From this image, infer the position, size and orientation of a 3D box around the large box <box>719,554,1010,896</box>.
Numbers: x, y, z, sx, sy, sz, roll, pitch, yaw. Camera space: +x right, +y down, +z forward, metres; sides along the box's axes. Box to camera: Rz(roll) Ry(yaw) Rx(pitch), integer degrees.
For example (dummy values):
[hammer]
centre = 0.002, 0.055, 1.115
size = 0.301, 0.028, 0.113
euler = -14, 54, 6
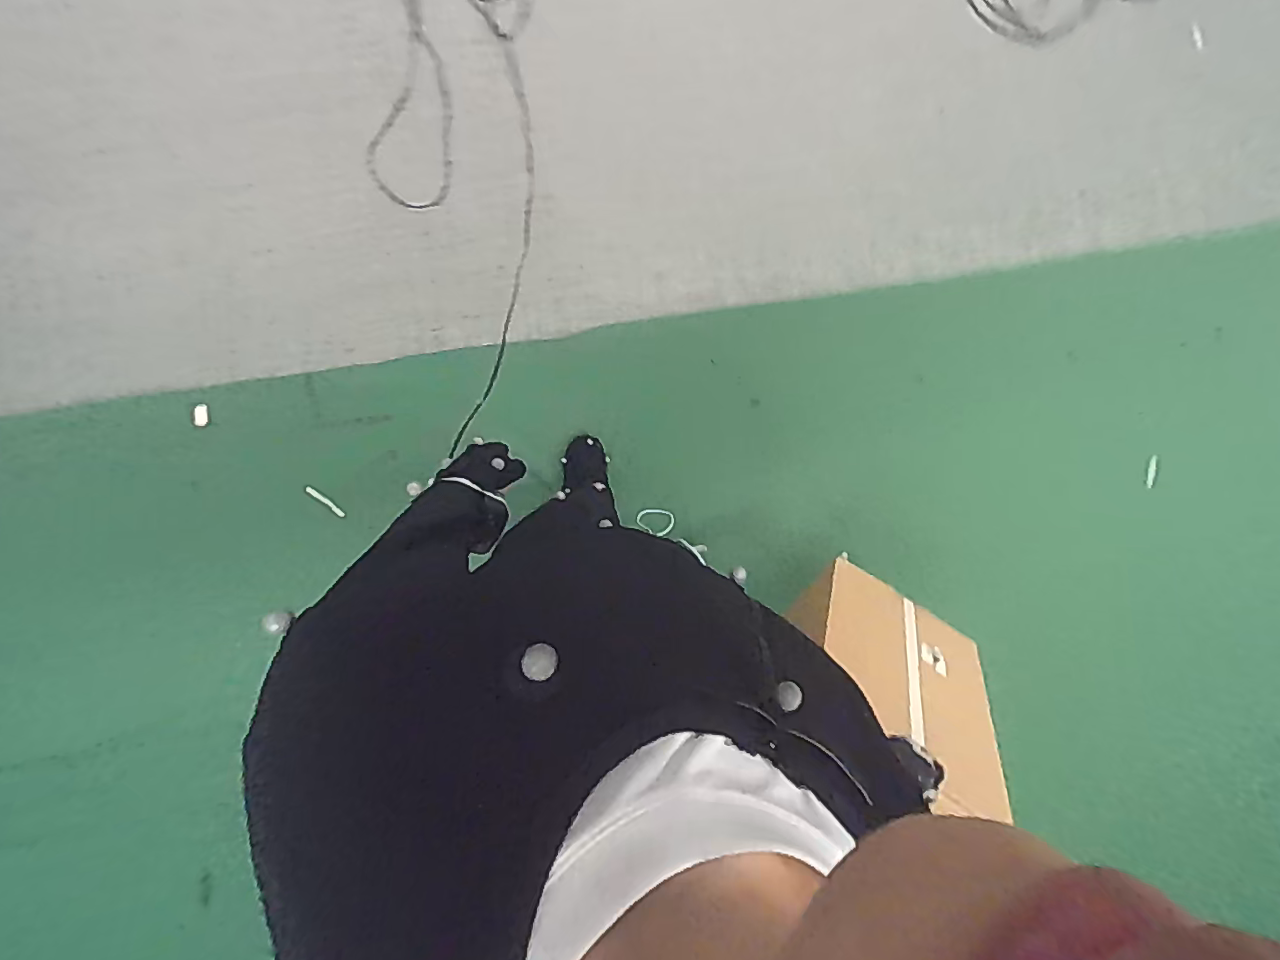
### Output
[large box]
centre = 0.384, 0.421, 0.987
size = 0.320, 0.408, 0.320
euler = 33, 123, 6
